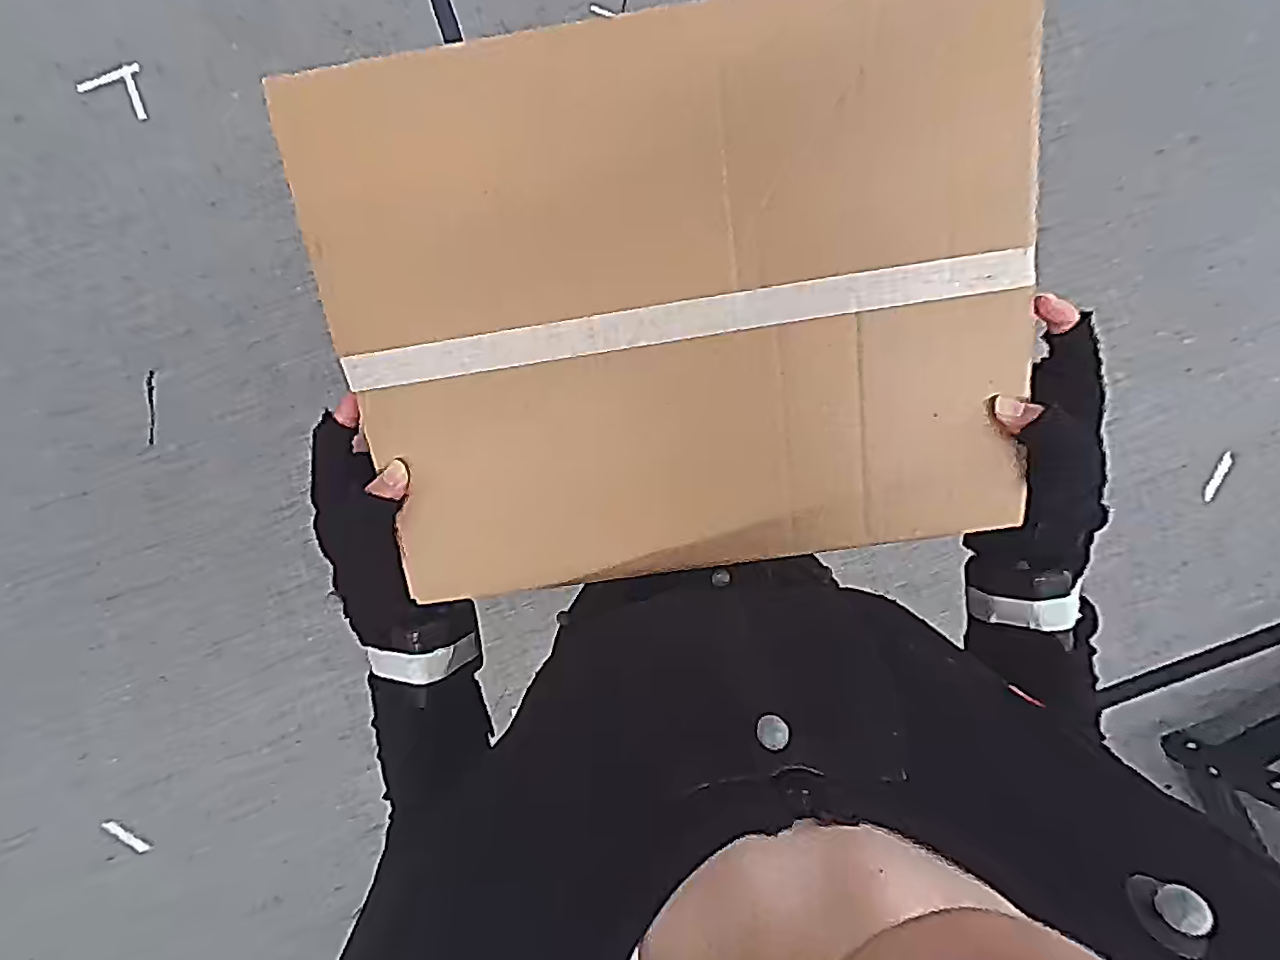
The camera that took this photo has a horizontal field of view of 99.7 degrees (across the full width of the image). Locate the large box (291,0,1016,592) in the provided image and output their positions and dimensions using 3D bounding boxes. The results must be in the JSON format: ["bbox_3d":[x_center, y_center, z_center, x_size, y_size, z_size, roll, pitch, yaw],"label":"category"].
[{"bbox_3d":[0.021,-0.134,0.471,0.408,0.320,0.320,-8,106,3],"label":"large box"}]
